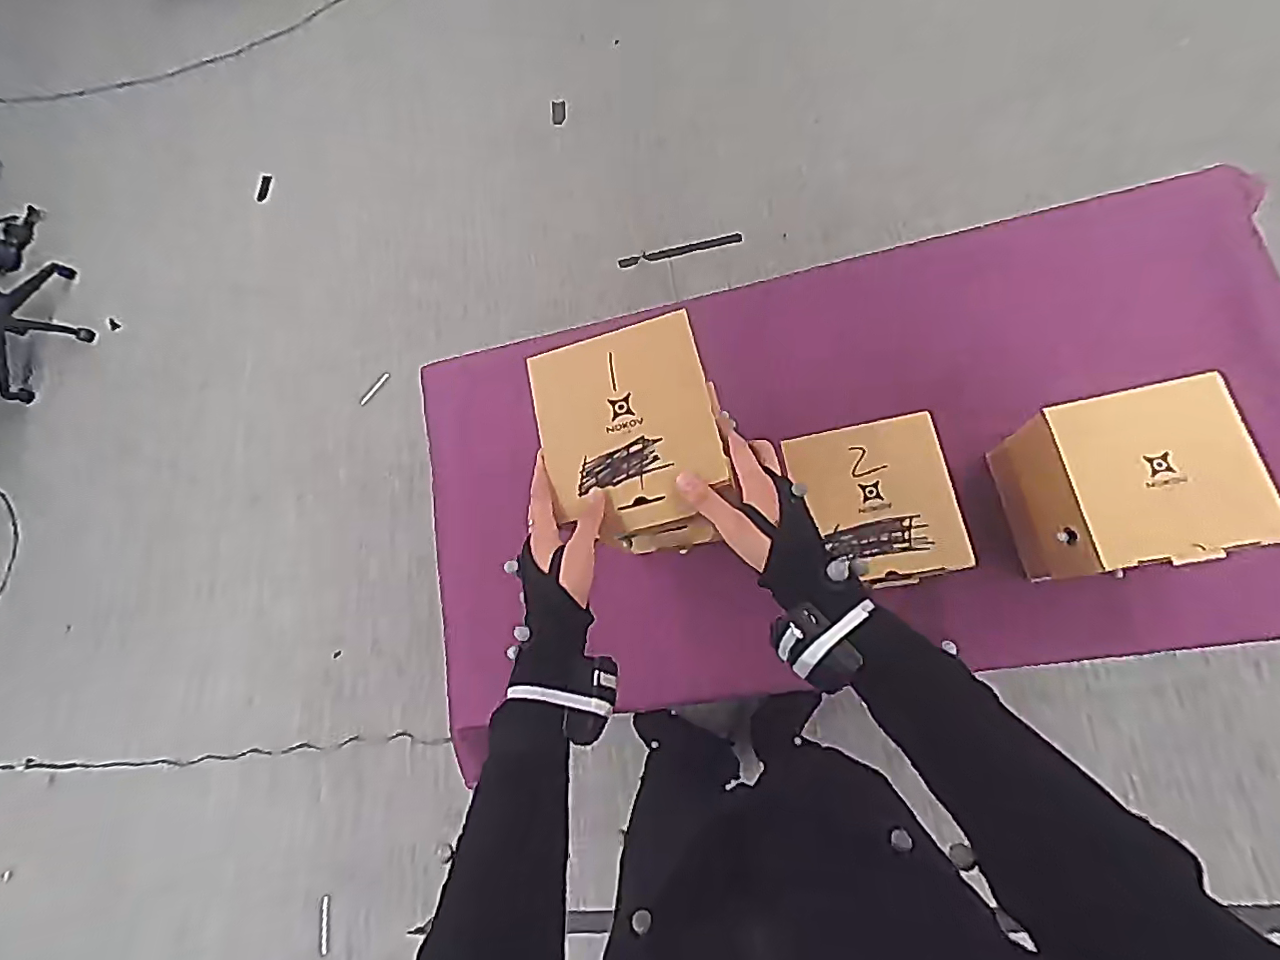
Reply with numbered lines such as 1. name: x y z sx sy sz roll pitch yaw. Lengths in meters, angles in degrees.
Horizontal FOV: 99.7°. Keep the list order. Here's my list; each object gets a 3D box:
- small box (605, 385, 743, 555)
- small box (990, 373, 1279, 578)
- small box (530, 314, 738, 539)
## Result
1. small box: 0.042 -0.003 0.733 0.168 0.176 0.179 -11 75 11
2. small box: 0.537 0.007 0.614 0.168 0.176 0.179 -13 75 10
3. small box: 0.003 -0.039 0.577 0.168 0.176 0.179 -15 74 9
